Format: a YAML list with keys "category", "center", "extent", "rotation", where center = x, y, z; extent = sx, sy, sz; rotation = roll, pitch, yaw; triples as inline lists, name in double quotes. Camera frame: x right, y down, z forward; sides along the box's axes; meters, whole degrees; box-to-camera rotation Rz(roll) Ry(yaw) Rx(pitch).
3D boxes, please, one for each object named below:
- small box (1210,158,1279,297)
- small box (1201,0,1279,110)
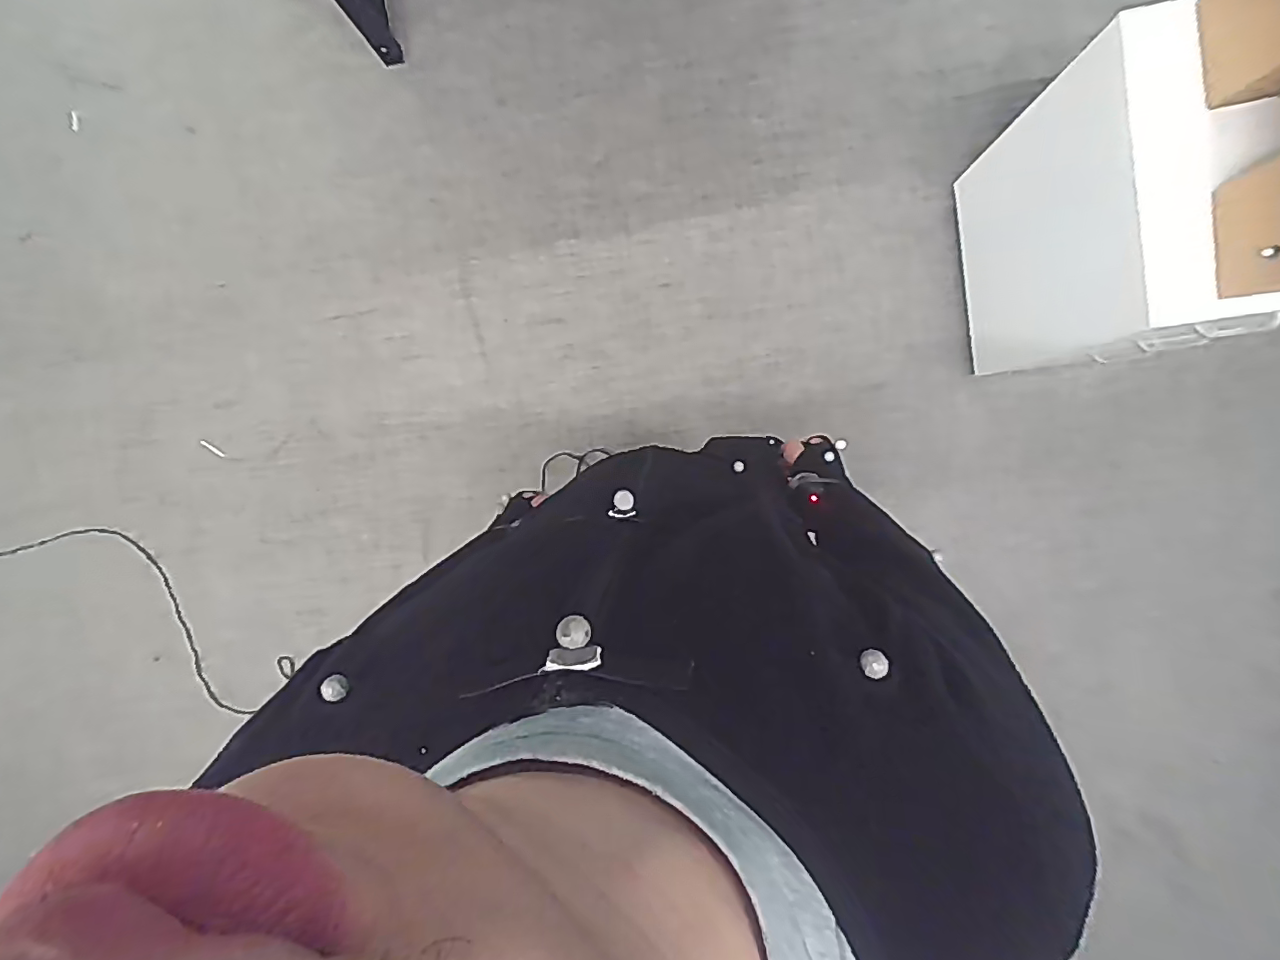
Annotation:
- category: "small box"
  center: [0.982, -0.373, 0.771]
  extent: [0.168, 0.176, 0.179]
  rotation: [-6, 90, 5]
- category: "small box"
  center: [0.949, -0.669, 0.756]
  extent: [0.168, 0.176, 0.179]
  rotation: [-9, 94, 6]
